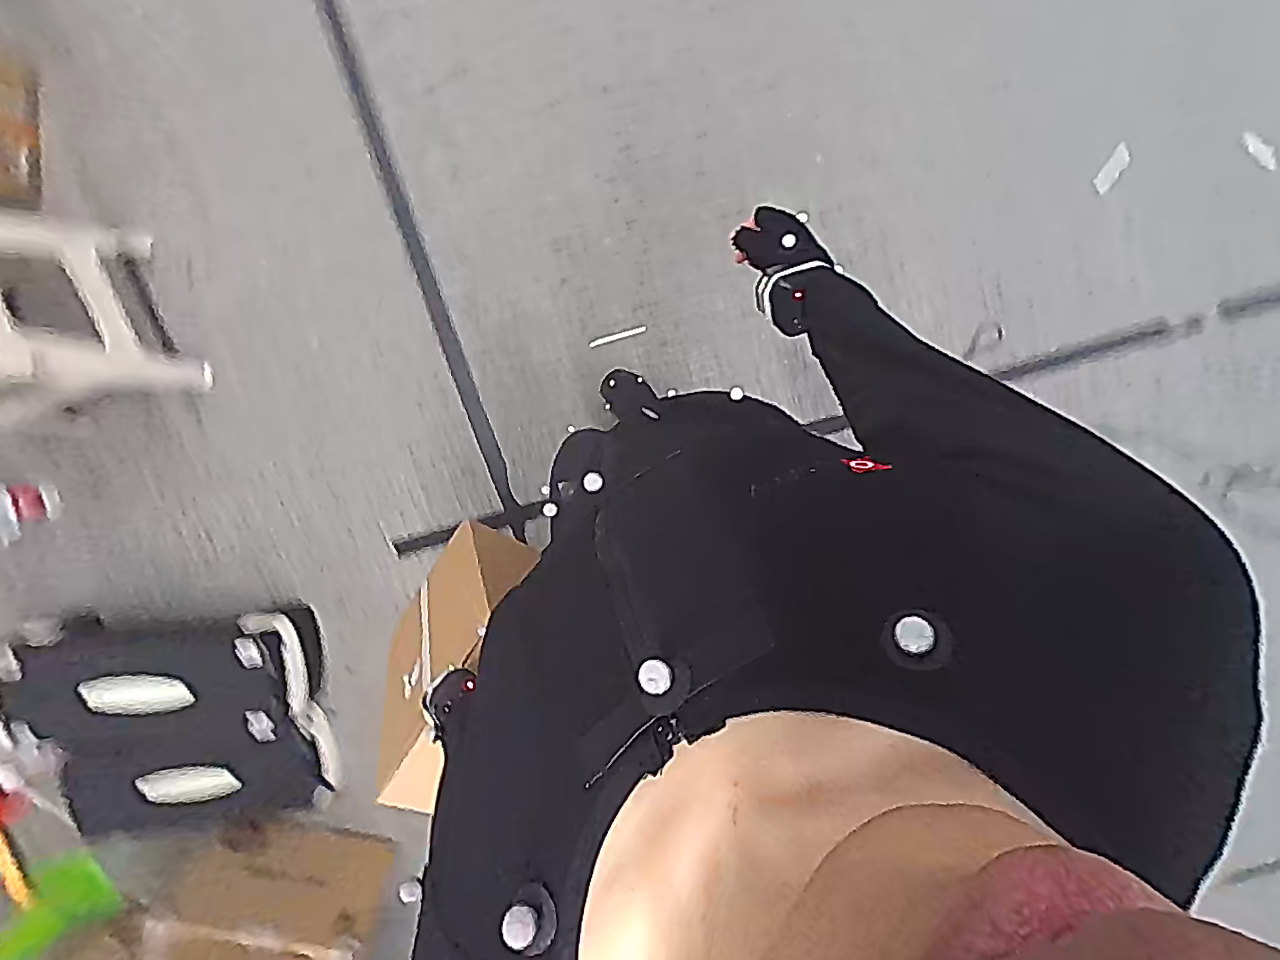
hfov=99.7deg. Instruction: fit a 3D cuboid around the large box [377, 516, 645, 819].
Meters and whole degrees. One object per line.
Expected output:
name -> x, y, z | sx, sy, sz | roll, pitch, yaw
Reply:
large box -> -0.255, 0.324, 1.007 | 0.320, 0.408, 0.320 | 32, 94, -29
